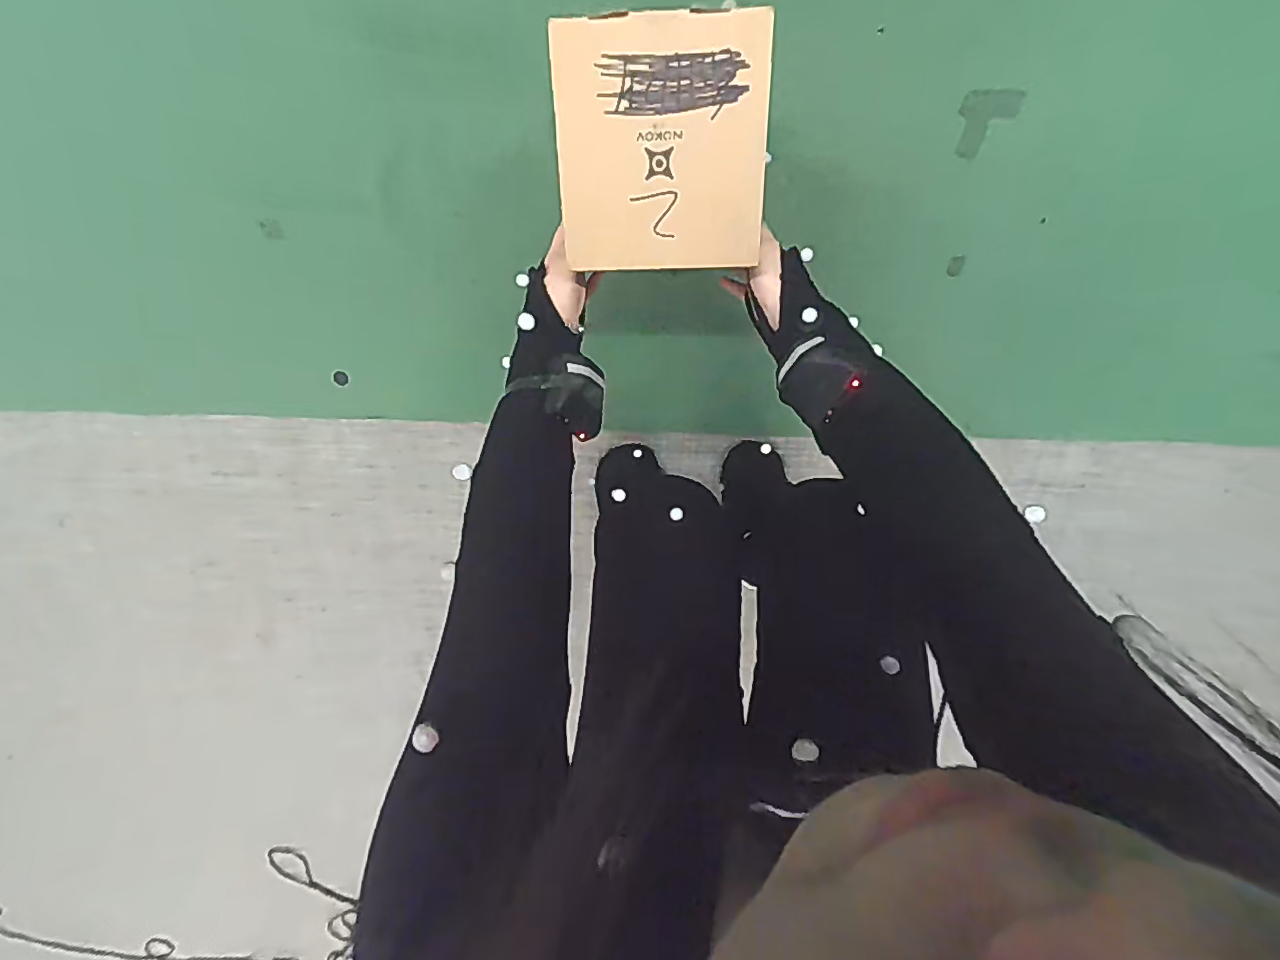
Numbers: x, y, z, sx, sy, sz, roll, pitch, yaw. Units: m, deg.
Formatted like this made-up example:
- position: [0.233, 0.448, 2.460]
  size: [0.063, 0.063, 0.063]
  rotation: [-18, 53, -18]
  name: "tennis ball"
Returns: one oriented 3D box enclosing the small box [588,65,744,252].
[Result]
- position: [0.026, -0.383, 0.669]
  size: [0.168, 0.176, 0.179]
  rotation: [2, 114, 0]
  name: "small box"
